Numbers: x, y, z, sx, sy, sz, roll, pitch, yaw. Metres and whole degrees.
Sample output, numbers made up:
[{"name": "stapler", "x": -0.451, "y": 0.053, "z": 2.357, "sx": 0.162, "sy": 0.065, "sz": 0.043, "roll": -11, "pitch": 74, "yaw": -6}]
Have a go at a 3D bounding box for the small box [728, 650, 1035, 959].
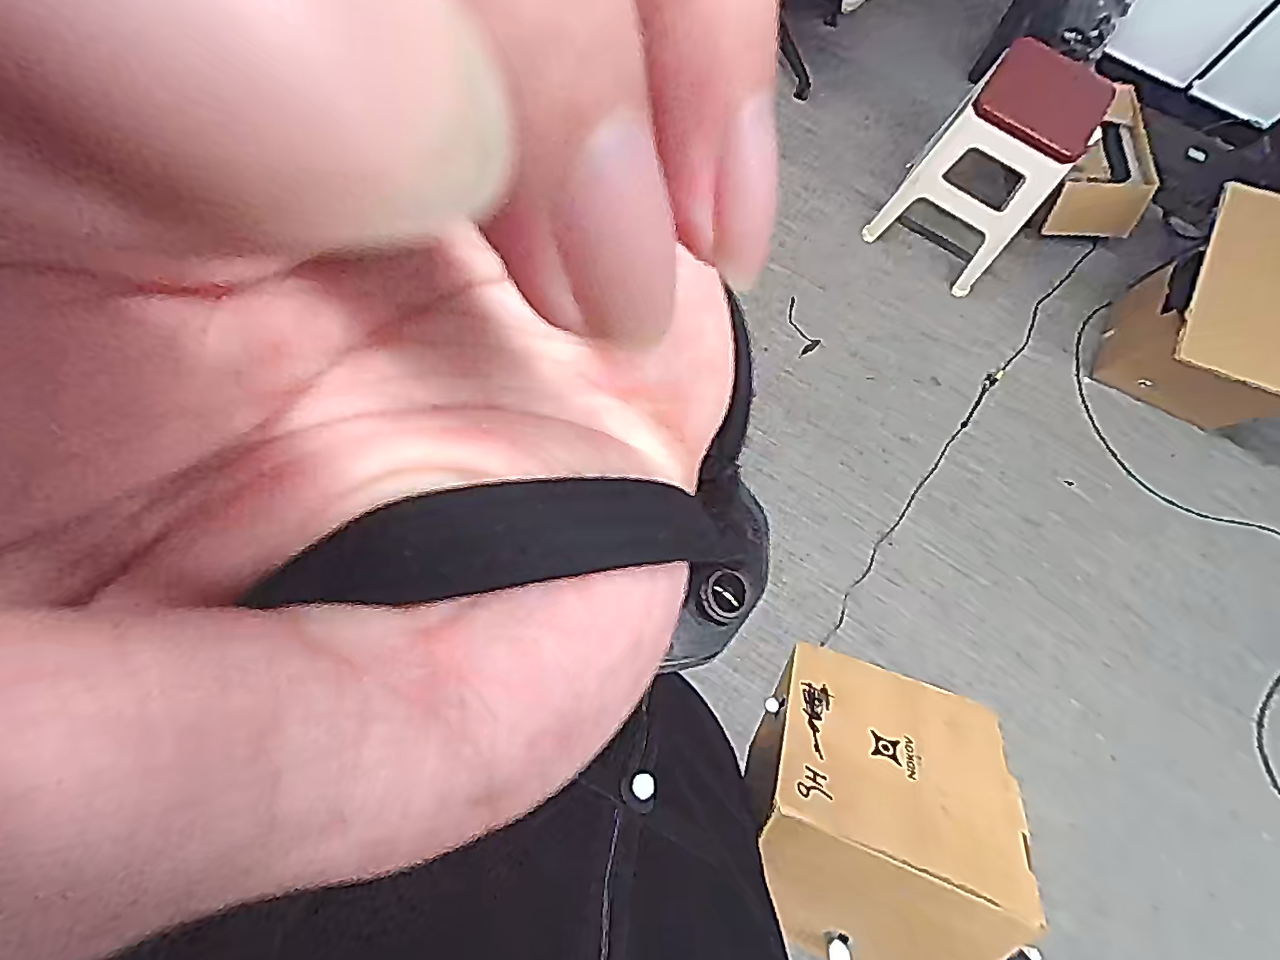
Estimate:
[{"name": "small box", "x": 0.194, "y": 0.292, "z": 0.478, "sx": 0.179, "sy": 0.176, "sz": 0.168, "roll": 18, "pitch": 33, "yaw": 12}]
